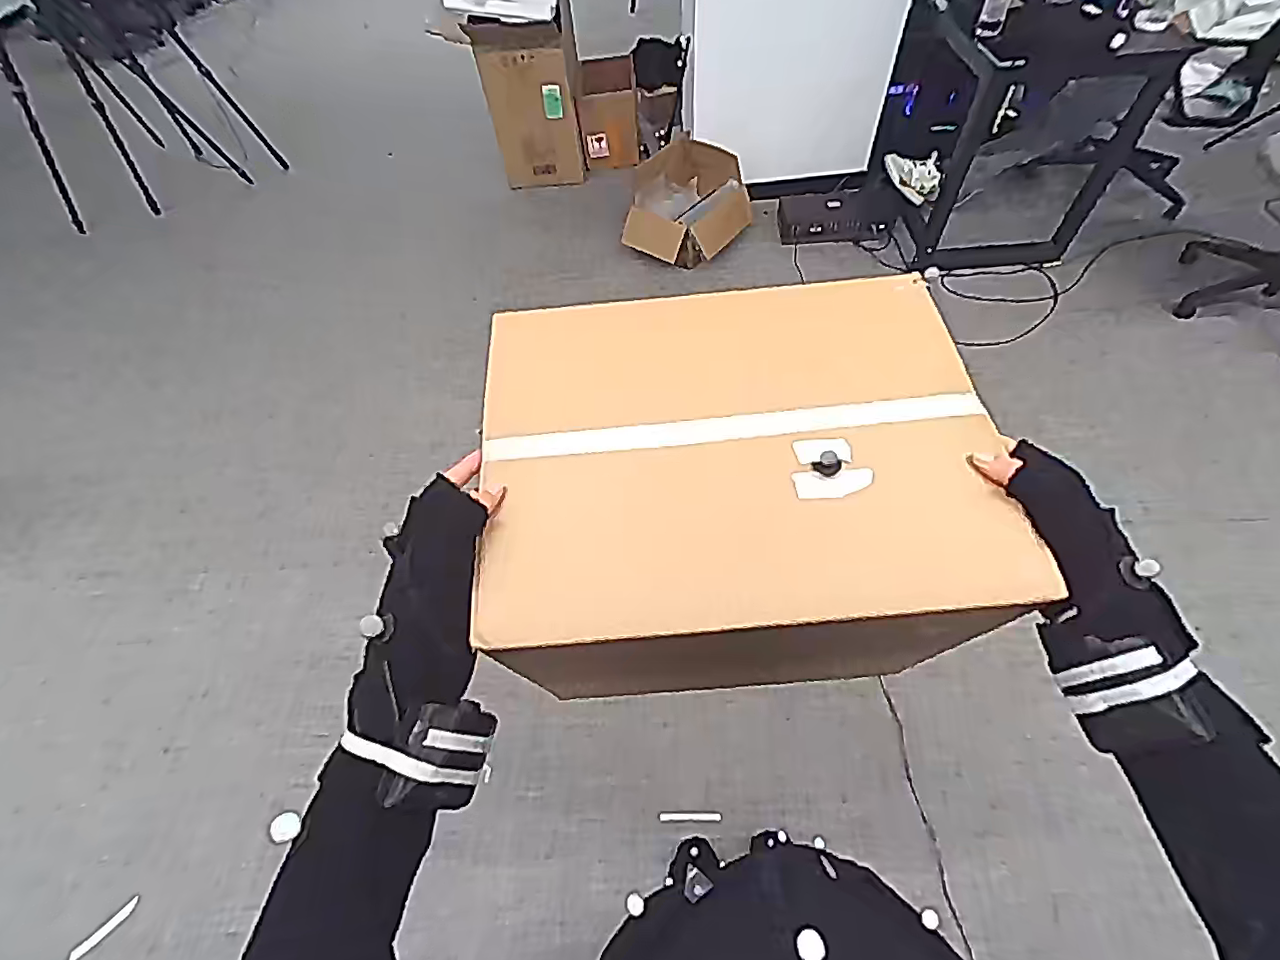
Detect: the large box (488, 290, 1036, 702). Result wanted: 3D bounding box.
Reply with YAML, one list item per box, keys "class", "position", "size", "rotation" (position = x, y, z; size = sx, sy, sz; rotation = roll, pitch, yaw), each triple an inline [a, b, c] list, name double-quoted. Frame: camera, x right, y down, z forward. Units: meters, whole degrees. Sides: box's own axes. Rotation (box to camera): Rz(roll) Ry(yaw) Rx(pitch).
- class: "large box"
  position: [0.080, 0.039, 0.585]
  size: [0.408, 0.320, 0.320]
  rotation: [-6, 61, 1]
